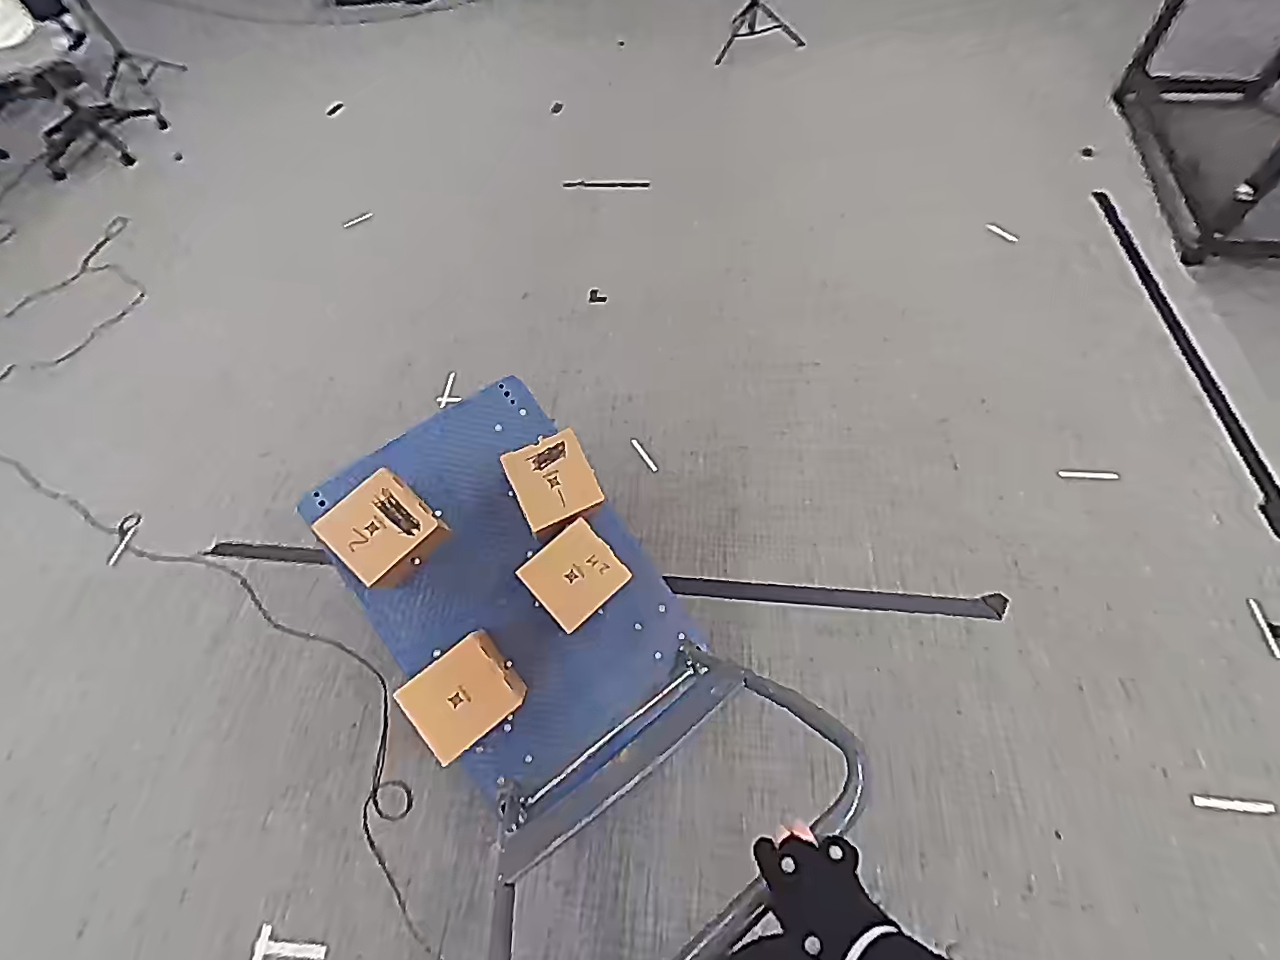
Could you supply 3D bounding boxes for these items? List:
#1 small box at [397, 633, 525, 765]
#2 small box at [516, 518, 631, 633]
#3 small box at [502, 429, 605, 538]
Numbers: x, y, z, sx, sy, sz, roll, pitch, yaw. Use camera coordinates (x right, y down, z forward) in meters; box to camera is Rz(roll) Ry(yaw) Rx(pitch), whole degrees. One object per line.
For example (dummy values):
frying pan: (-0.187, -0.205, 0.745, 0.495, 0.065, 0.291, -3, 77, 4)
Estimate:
small box: (-0.348, 0.429, 1.090, 0.179, 0.176, 0.168, -38, 85, -16)
small box: (-0.142, 0.208, 1.169, 0.179, 0.176, 0.168, -41, 86, -14)
small box: (-0.193, 0.015, 1.204, 0.168, 0.176, 0.179, -25, 83, -12)
